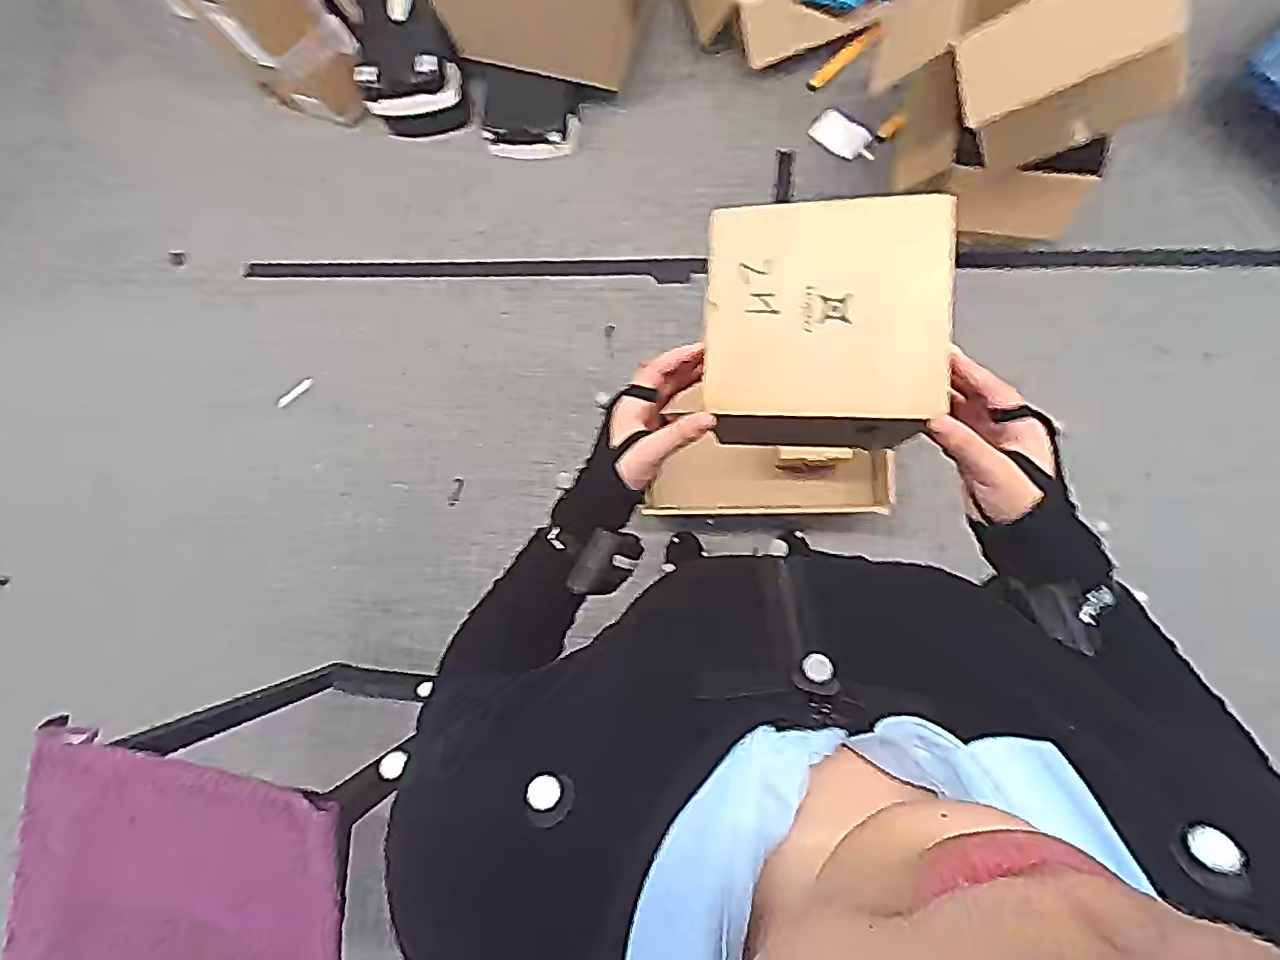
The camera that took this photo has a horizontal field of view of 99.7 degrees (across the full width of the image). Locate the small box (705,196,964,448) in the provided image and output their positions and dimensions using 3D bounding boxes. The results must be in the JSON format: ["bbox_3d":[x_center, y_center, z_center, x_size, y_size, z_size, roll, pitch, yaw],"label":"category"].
[{"bbox_3d":[0.158,-0.122,0.478,0.179,0.176,0.168,4,86,14],"label":"small box"}]

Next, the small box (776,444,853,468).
[{"bbox_3d":[0.435,-0.128,1.372,0.168,0.176,0.179,-1,85,9],"label":"small box"}]
